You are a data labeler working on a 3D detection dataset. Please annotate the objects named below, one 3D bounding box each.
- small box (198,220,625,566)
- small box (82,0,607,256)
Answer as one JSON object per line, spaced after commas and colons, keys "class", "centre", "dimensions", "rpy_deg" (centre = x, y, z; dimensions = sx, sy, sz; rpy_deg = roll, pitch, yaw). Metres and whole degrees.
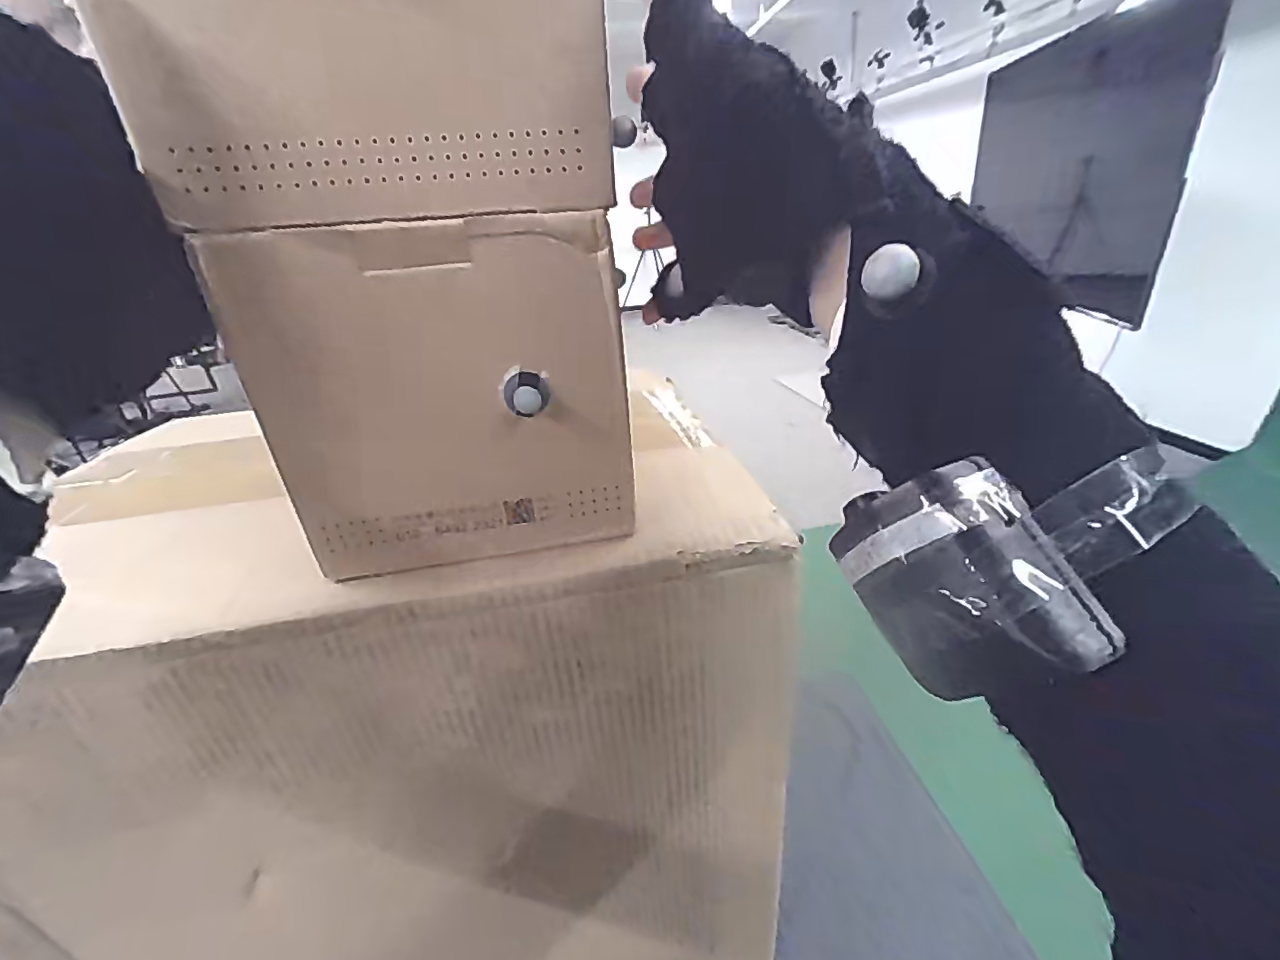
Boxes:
{"class": "small box", "centre": [-0.104, -0.061, 0.332], "dimensions": [0.168, 0.176, 0.179], "rpy_deg": [-7, 28, -8]}
{"class": "small box", "centre": [-0.112, -0.205, 0.252], "dimensions": [0.179, 0.176, 0.168], "rpy_deg": [-8, 29, -11]}
